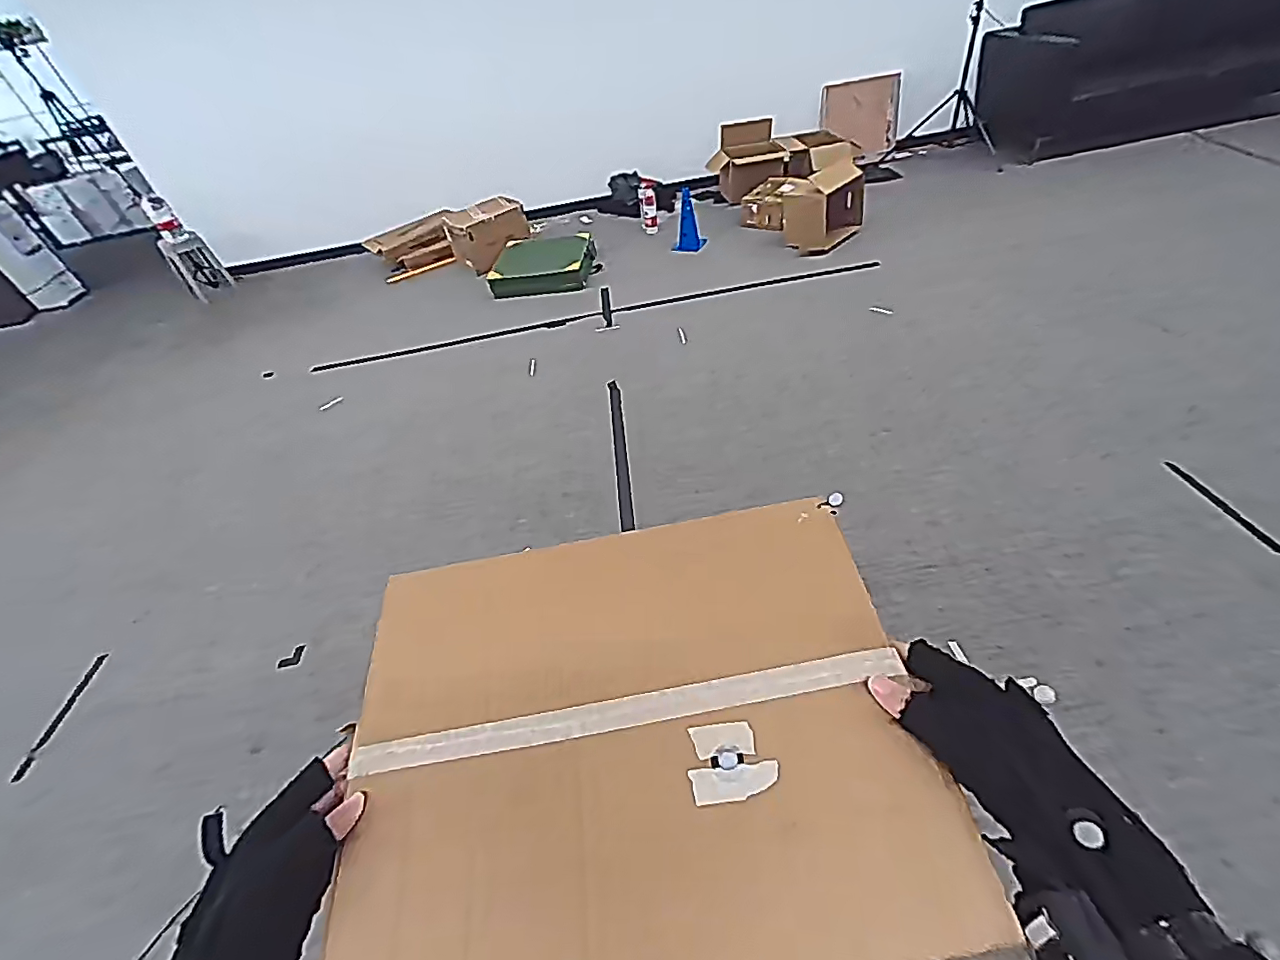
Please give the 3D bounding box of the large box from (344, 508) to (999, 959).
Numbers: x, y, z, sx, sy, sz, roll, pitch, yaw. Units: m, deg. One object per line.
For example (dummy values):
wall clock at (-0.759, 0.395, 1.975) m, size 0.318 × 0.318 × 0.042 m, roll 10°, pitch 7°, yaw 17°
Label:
large box at (0.012, 0.273, 0.520) m, size 0.408 × 0.320 × 0.320 m, roll -11°, pitch 50°, yaw 0°
